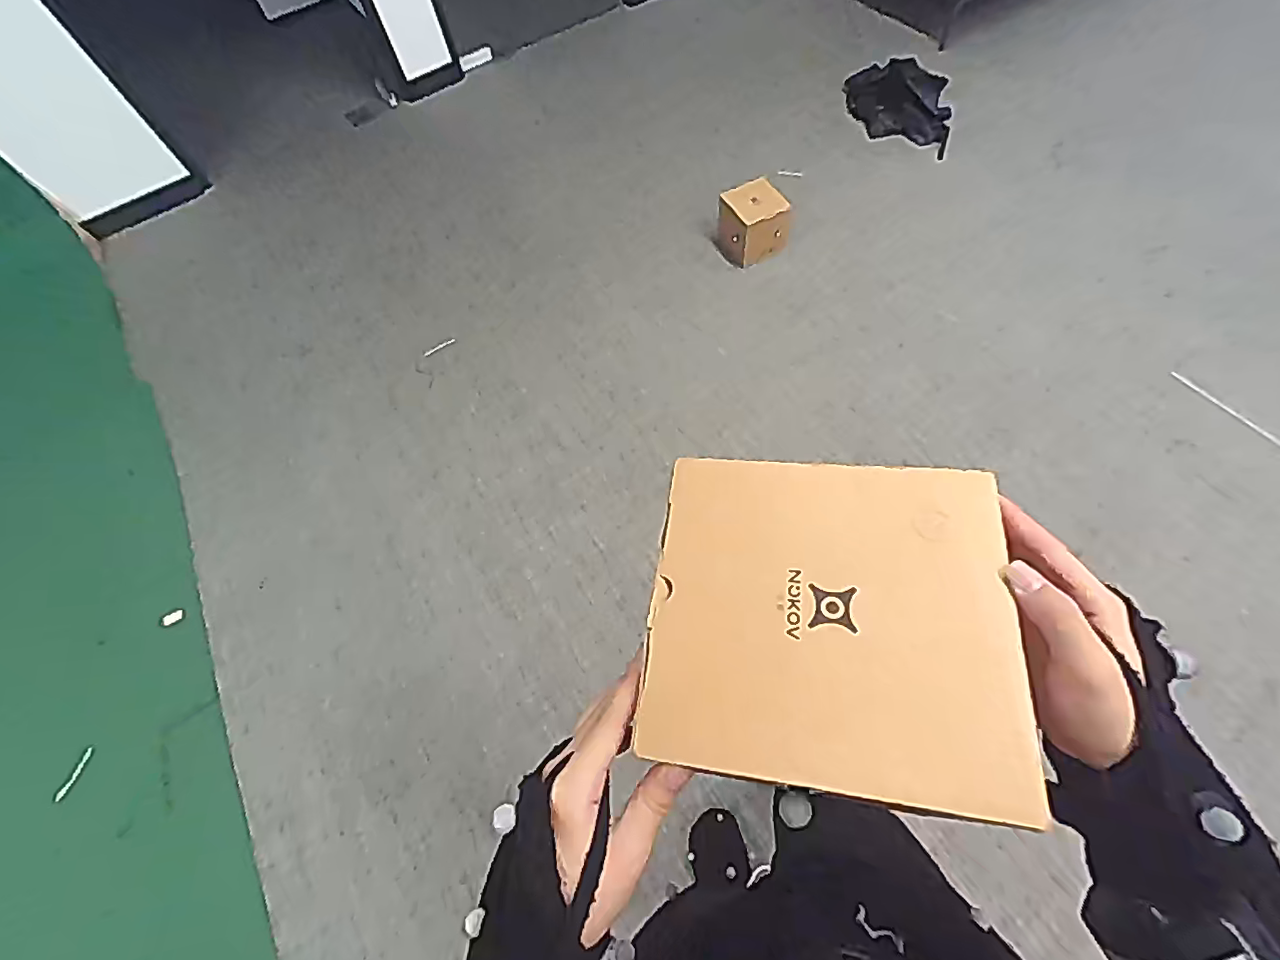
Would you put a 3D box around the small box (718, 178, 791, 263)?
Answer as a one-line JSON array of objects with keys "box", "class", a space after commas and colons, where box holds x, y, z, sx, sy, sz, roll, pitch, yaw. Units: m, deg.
[{"box": [0.371, -0.841, 1.774, 0.168, 0.176, 0.179, -25, 63, -9], "class": "small box"}]
